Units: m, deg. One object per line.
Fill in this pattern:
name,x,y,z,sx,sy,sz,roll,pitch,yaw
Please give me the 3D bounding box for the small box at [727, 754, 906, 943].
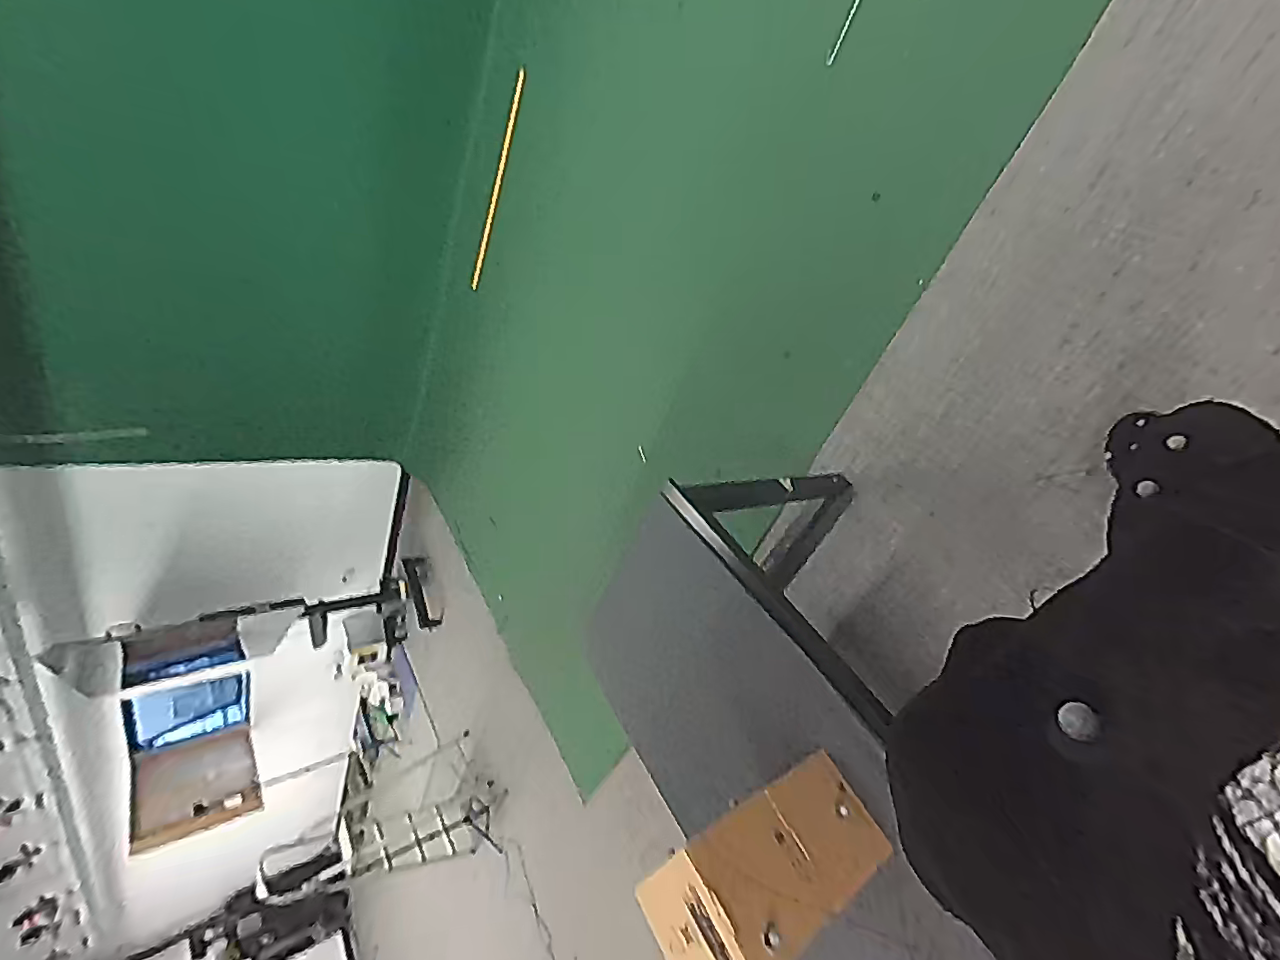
small box,0.279,0.574,0.856,0.168,0.176,0.179,54,131,32
